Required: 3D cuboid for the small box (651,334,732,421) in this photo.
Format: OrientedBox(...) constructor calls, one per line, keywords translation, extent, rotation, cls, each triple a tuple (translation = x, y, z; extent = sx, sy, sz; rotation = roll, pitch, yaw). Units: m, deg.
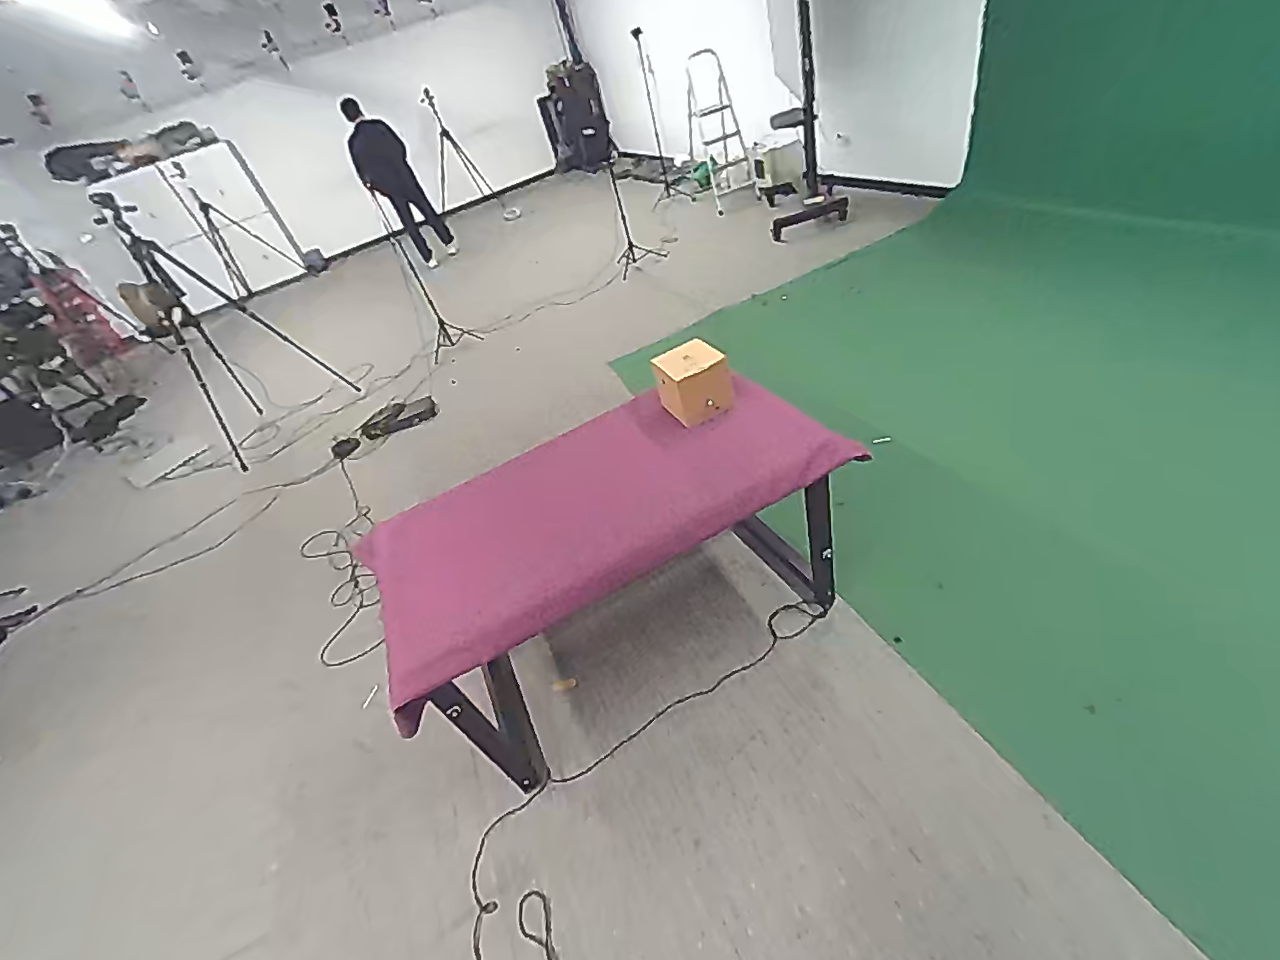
OrientedBox(translation=(0.154, -0.304, 1.611), extent=(0.168, 0.176, 0.179), rotation=(-27, 41, -9), cls="small box")
